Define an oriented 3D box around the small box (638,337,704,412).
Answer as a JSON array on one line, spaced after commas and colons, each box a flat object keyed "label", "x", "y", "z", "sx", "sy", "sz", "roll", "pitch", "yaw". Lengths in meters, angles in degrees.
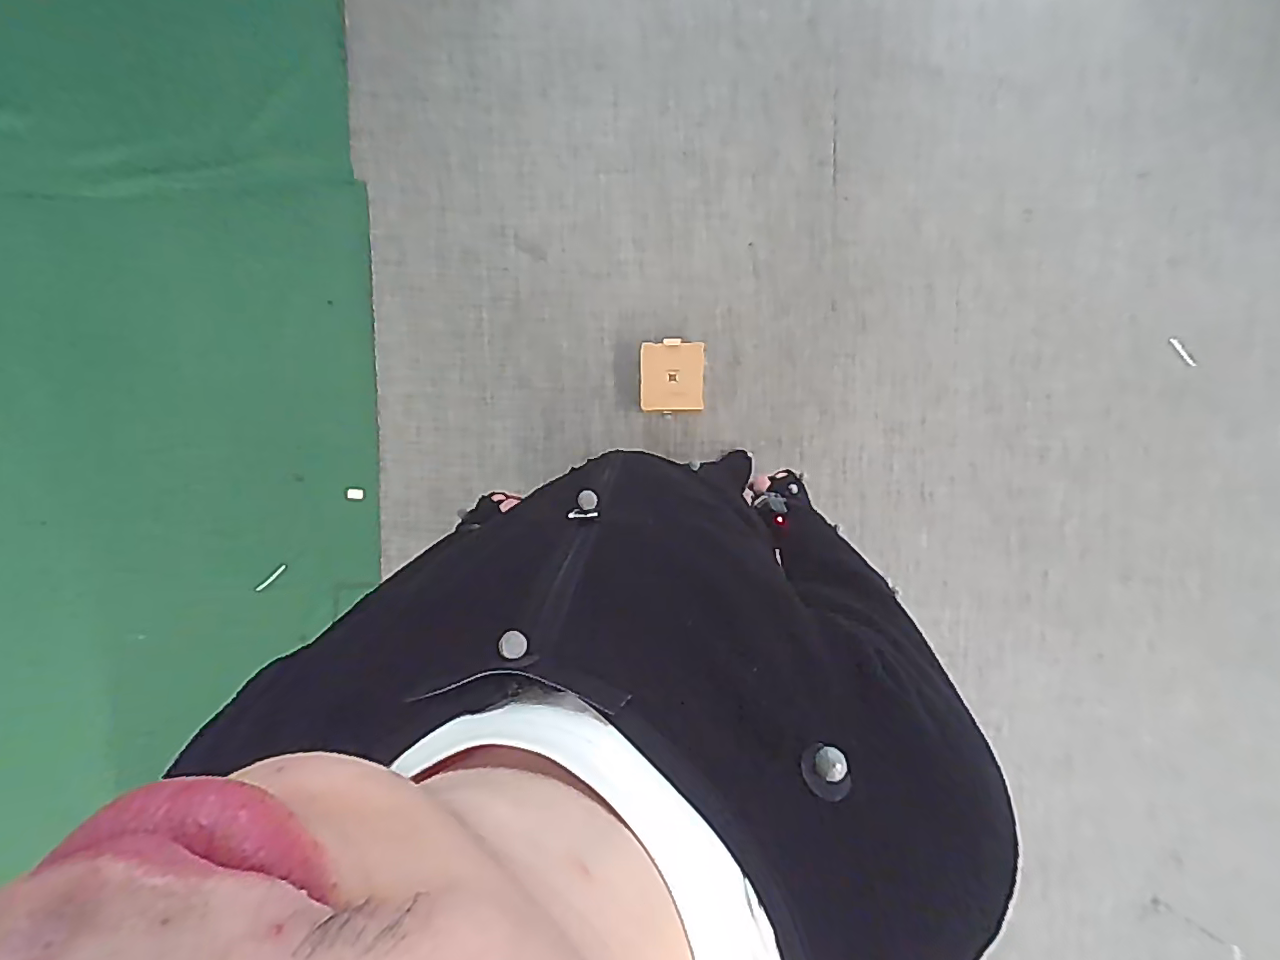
[{"label": "small box", "x": 0.084, "y": -0.280, "z": 1.461, "sx": 0.168, "sy": 0.176, "sz": 0.179, "roll": 2, "pitch": 94, "yaw": 4}]
